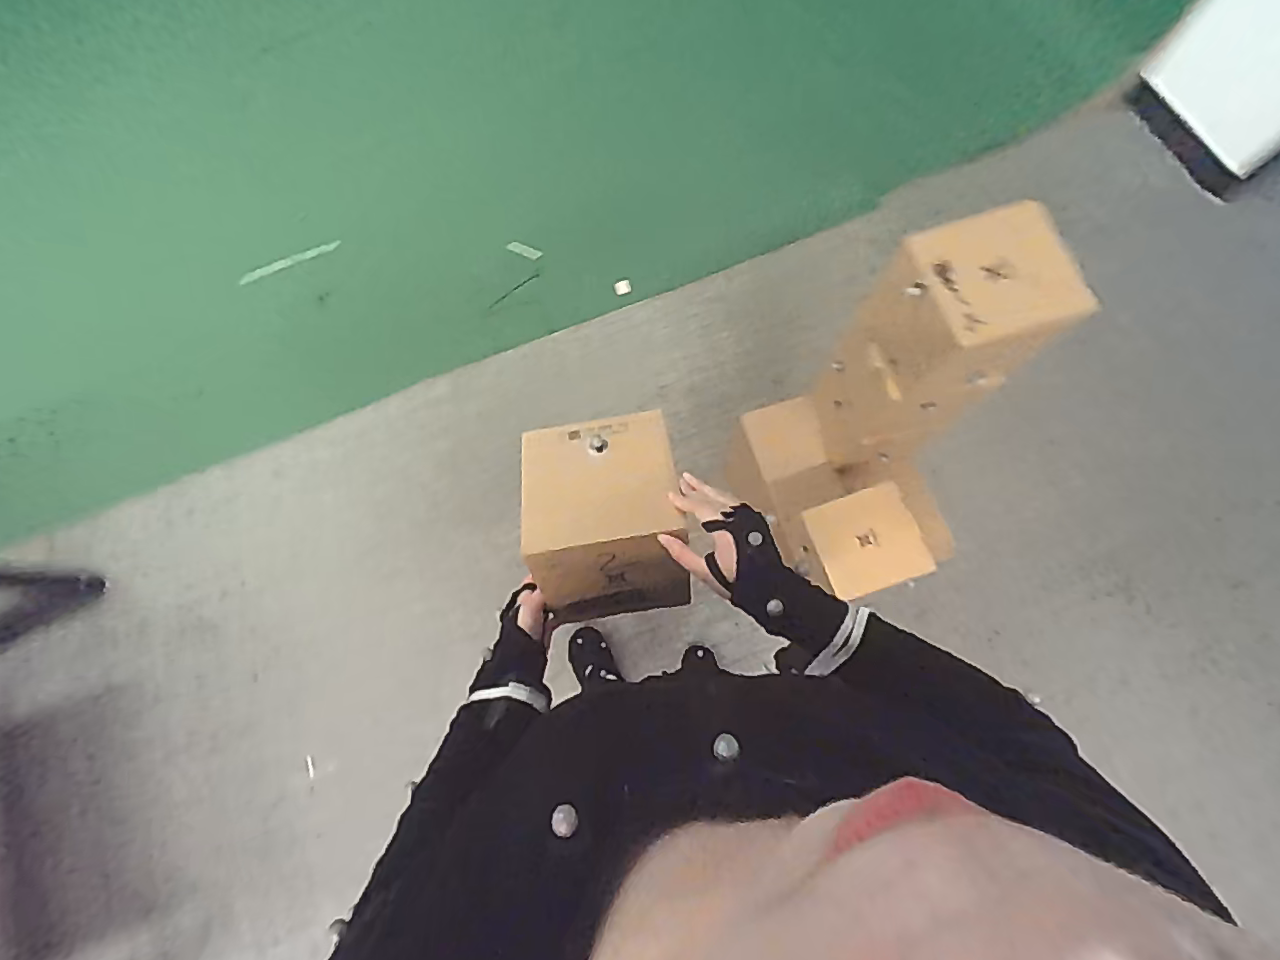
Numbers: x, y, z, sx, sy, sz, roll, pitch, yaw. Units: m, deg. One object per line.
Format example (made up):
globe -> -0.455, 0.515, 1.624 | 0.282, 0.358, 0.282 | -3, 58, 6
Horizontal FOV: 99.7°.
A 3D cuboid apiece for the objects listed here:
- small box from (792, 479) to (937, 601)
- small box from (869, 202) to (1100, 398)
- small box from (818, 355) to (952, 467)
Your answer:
small box -> 0.393, 0.118, 0.988 | 0.179, 0.176, 0.168 | -19, 75, -1
small box -> 0.447, -0.234, 0.735 | 0.179, 0.176, 0.168 | -15, 74, -1
small box -> 0.462, -0.141, 1.052 | 0.168, 0.176, 0.179 | -11, 76, 1
